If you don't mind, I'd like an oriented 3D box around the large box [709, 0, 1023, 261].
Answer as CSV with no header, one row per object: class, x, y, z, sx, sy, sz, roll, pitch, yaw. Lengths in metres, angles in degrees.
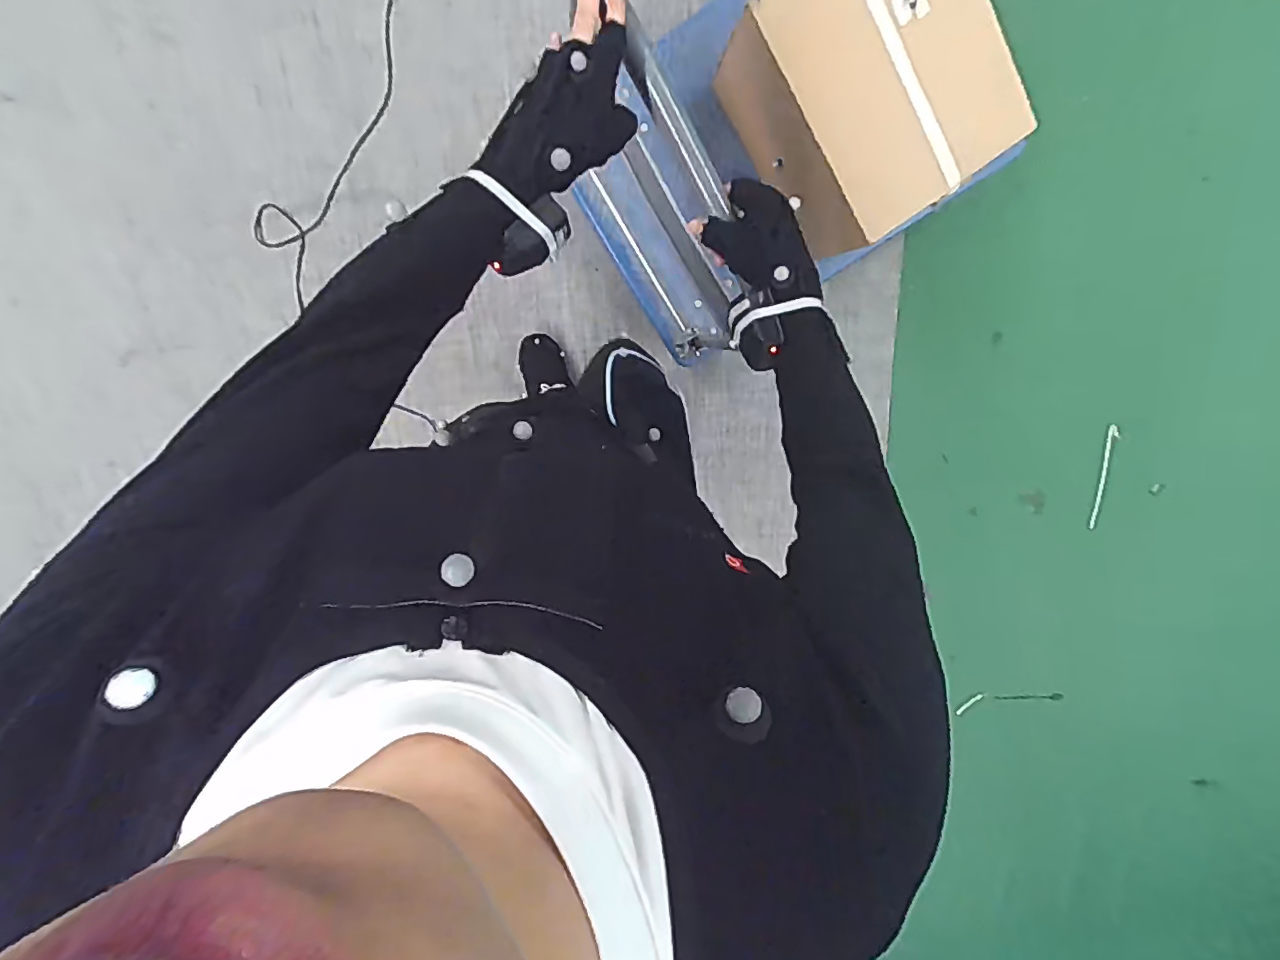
large box,0.379,-0.675,0.986,0.320,0.320,0.408,-35,105,6
